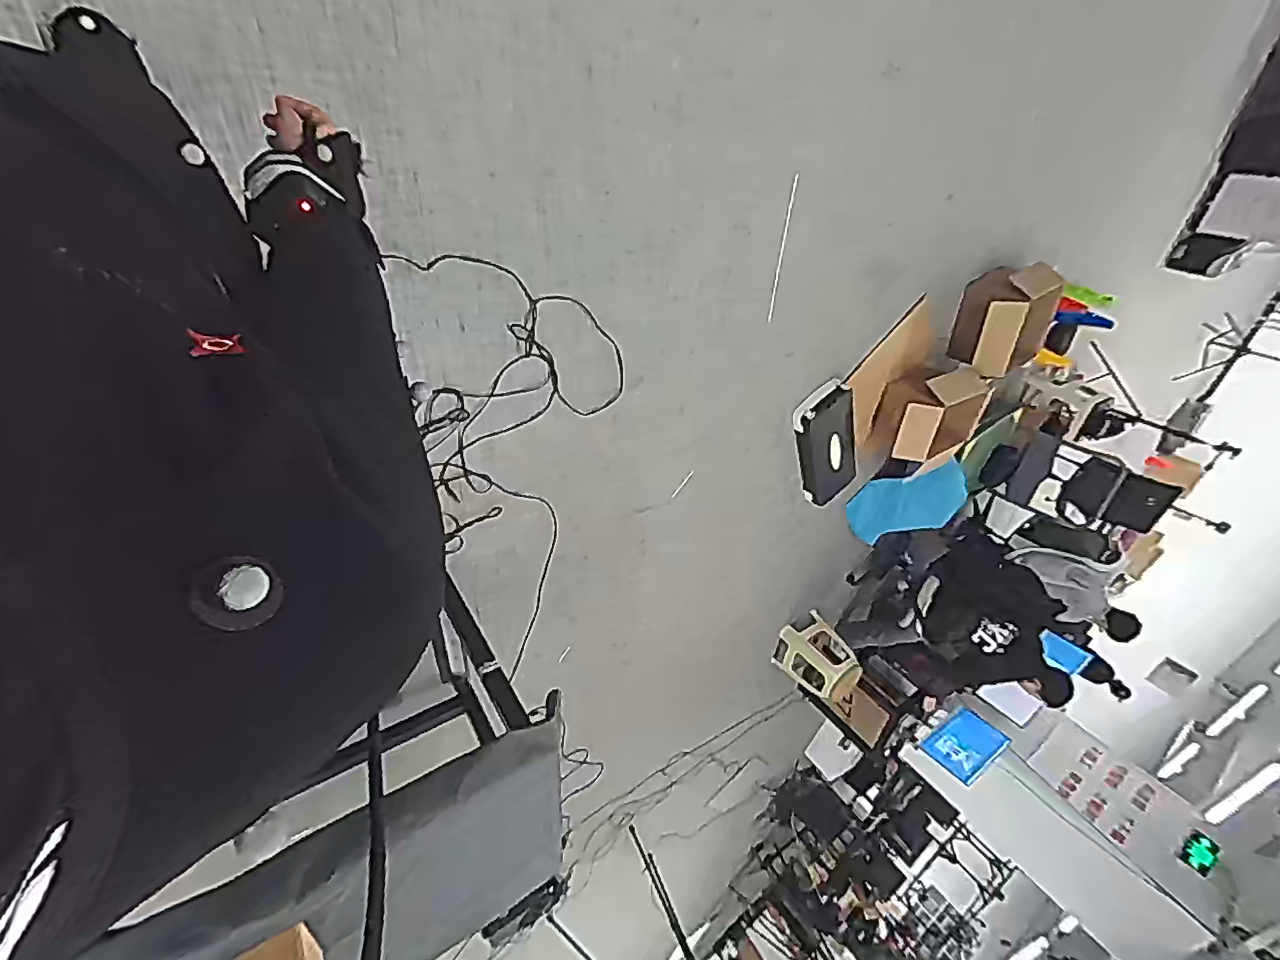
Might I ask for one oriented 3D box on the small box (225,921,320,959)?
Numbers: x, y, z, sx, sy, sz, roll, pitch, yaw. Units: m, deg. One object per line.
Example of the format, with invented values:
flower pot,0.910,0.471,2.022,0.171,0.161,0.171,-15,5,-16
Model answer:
small box,-0.660,0.931,0.944,0.179,0.176,0.168,-17,130,-31
